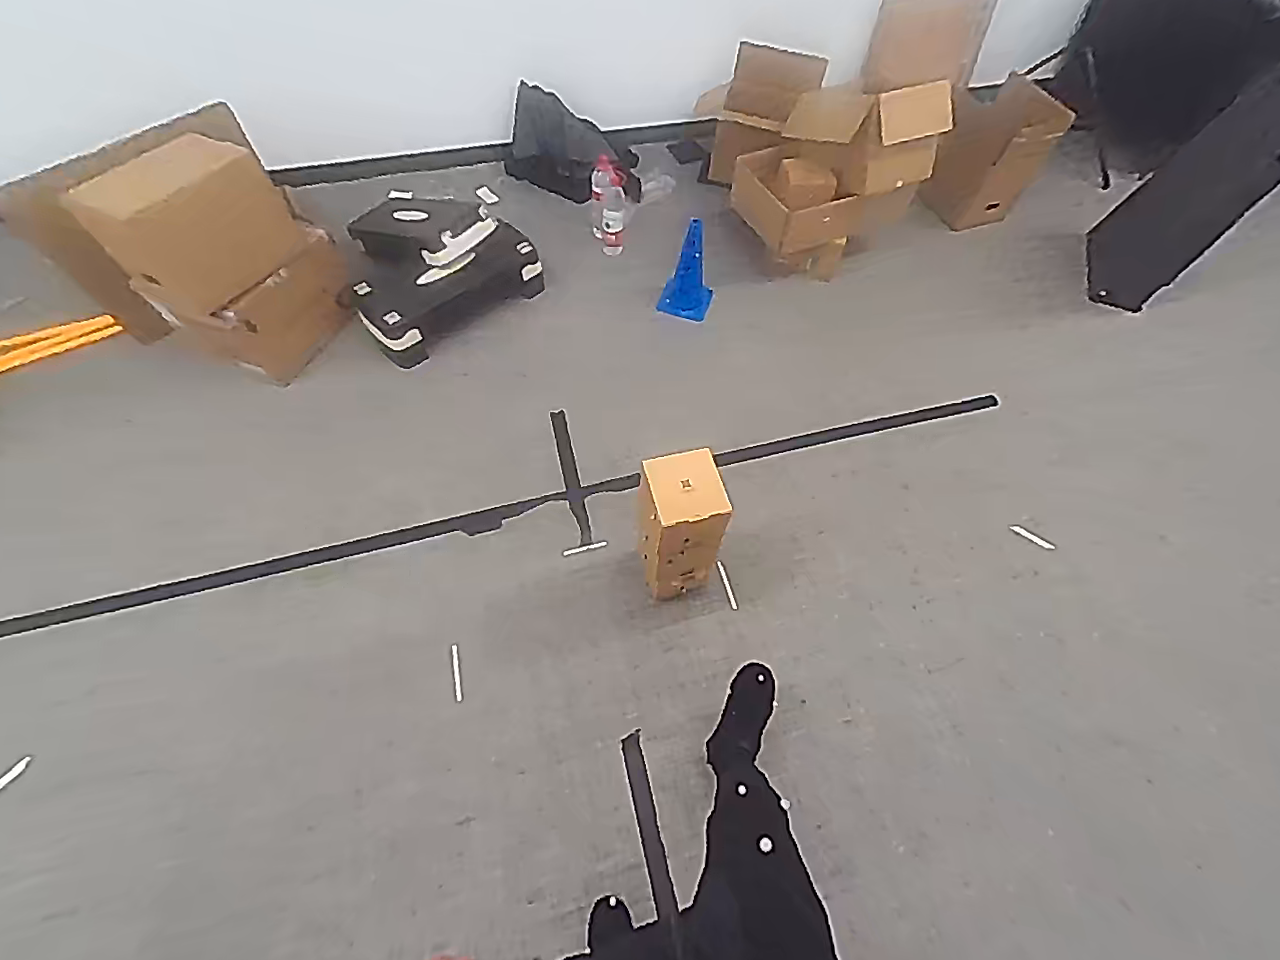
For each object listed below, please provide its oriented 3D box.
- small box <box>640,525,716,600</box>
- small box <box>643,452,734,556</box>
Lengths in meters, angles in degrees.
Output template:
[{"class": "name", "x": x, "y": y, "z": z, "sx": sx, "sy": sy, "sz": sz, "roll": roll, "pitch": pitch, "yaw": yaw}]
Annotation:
[{"class": "small box", "x": 0.102, "y": 0.226, "z": 1.569, "sx": 0.168, "sy": 0.176, "sz": 0.179, "roll": -15, "pitch": 63, "yaw": -10}, {"class": "small box", "x": 0.106, "y": 0.059, "z": 1.287, "sx": 0.168, "sy": 0.176, "sz": 0.179, "roll": -11, "pitch": 62, "yaw": -9}]
